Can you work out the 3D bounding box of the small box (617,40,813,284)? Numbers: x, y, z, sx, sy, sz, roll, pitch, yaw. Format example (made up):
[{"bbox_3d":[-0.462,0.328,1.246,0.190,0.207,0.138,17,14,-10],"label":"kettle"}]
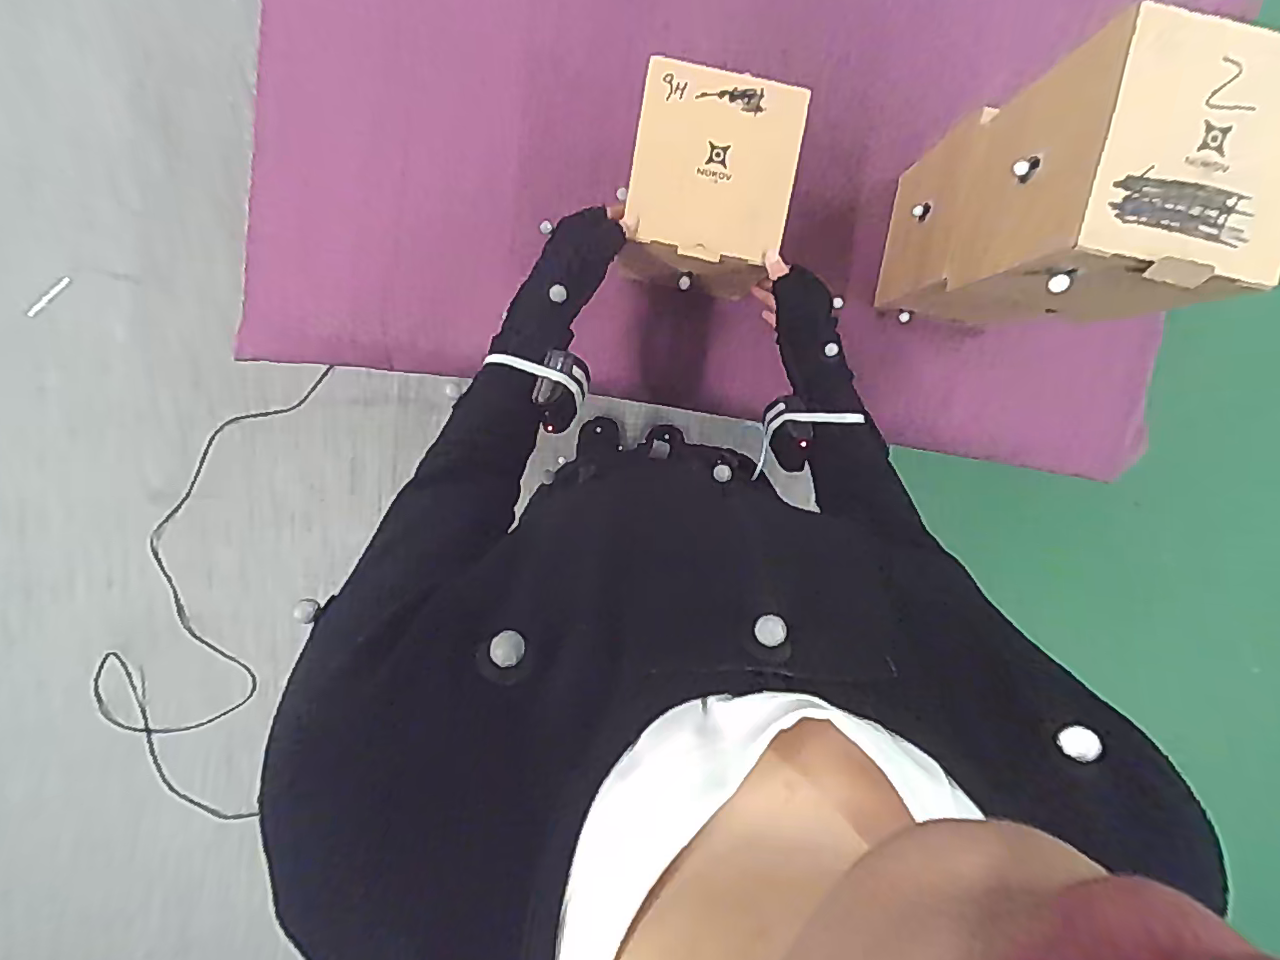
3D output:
[{"bbox_3d":[0.071,-0.335,0.612,0.168,0.176,0.179,10,99,-4],"label":"small box"}]

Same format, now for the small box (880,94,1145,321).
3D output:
[{"bbox_3d":[0.409,-0.294,0.631,0.168,0.176,0.179,12,98,-6],"label":"small box"}]
